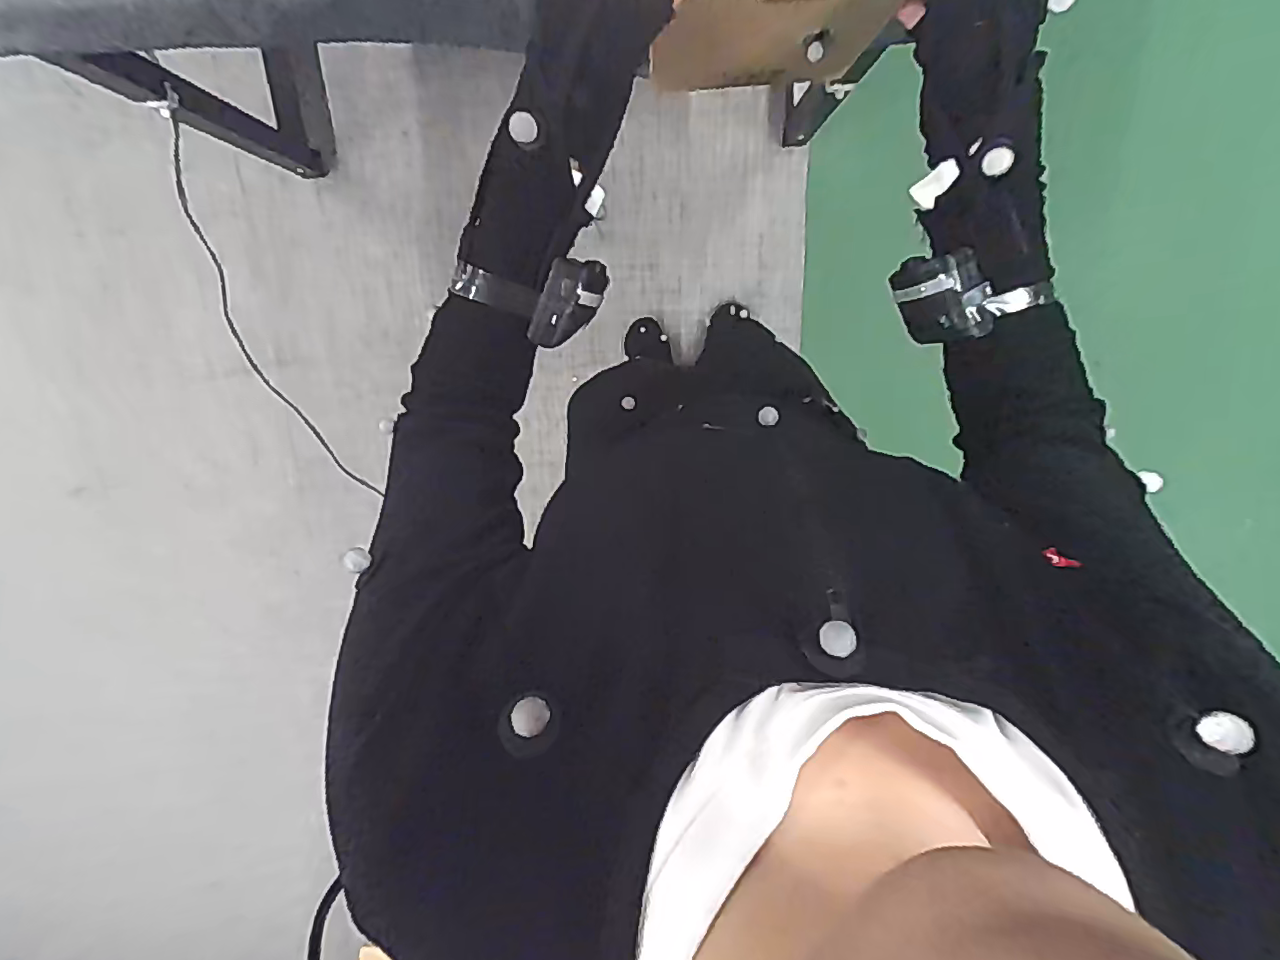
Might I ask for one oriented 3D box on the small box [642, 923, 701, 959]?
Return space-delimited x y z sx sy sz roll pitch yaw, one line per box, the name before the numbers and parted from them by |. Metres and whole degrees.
small box | 0.108 1.605 1.777 0.168 0.176 0.179 -17 106 4
